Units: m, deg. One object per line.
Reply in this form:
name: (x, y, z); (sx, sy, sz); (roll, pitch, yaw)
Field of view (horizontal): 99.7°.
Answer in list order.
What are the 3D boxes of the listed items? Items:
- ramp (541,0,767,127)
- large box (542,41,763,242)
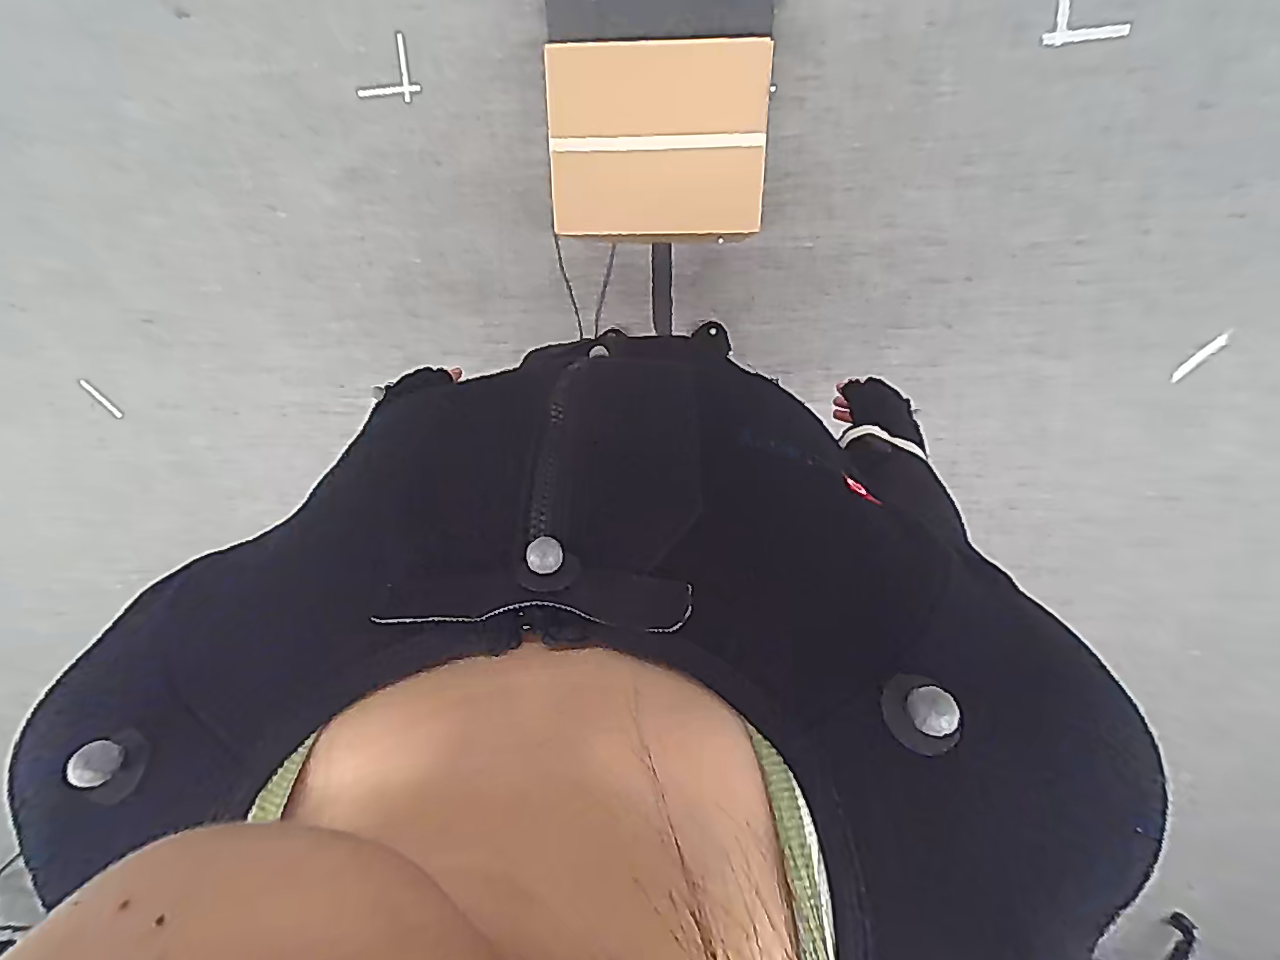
ramp: (0.022, -1.248, 1.056); (0.509, 0.206, 0.991); (-3, 106, 3)
large box: (0.031, -0.682, 1.151); (0.408, 0.320, 0.320); (1, 110, 3)
